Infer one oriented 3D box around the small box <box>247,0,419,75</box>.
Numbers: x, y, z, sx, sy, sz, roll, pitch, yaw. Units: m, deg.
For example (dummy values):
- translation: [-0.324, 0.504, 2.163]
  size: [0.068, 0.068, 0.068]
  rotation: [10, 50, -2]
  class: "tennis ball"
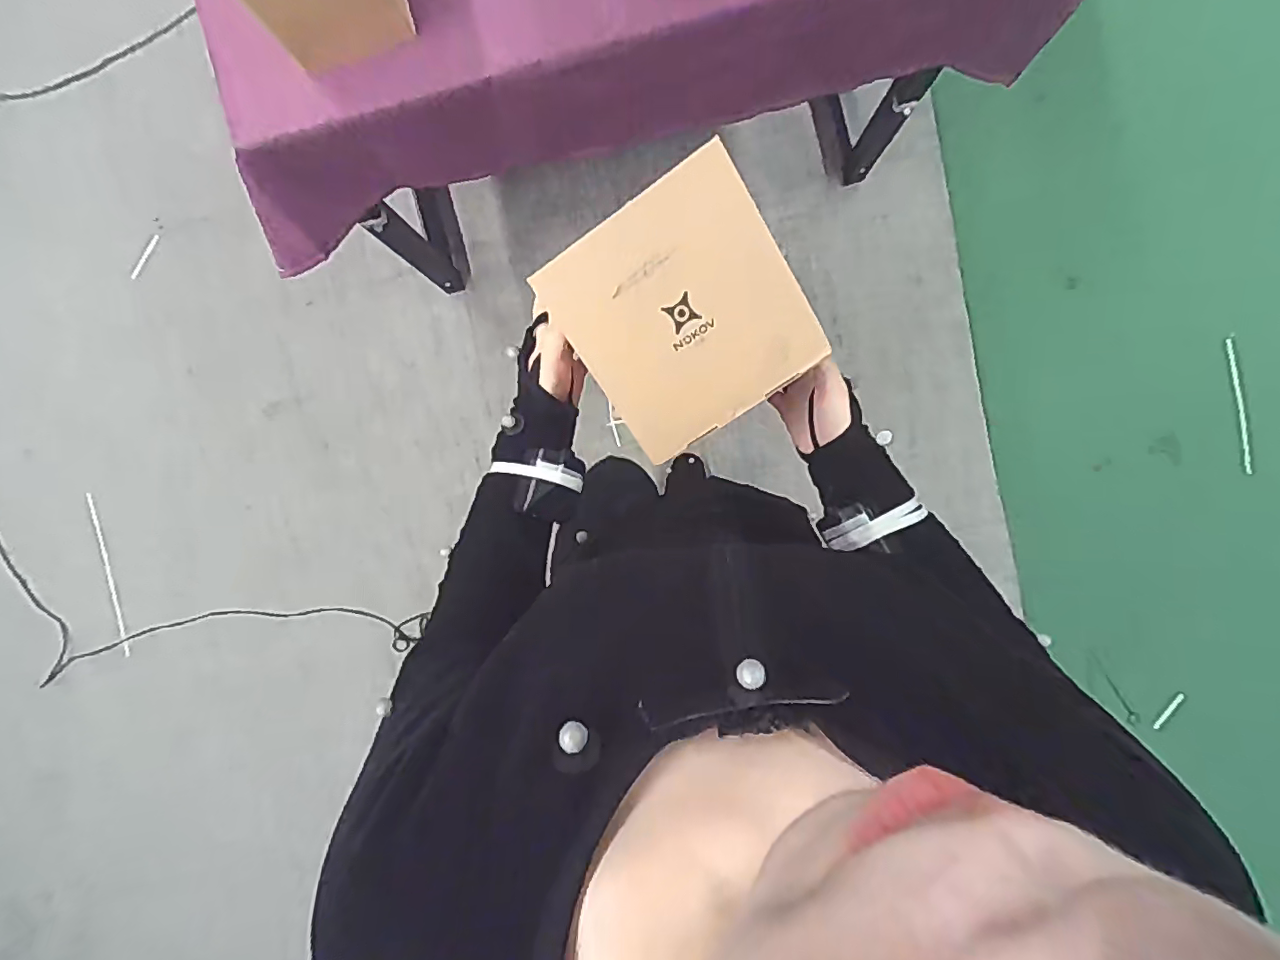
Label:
- translation: [-0.423, -0.679, 0.702]
  size: [0.179, 0.176, 0.168]
  rotation: [-16, 89, 2]
  class: "small box"
